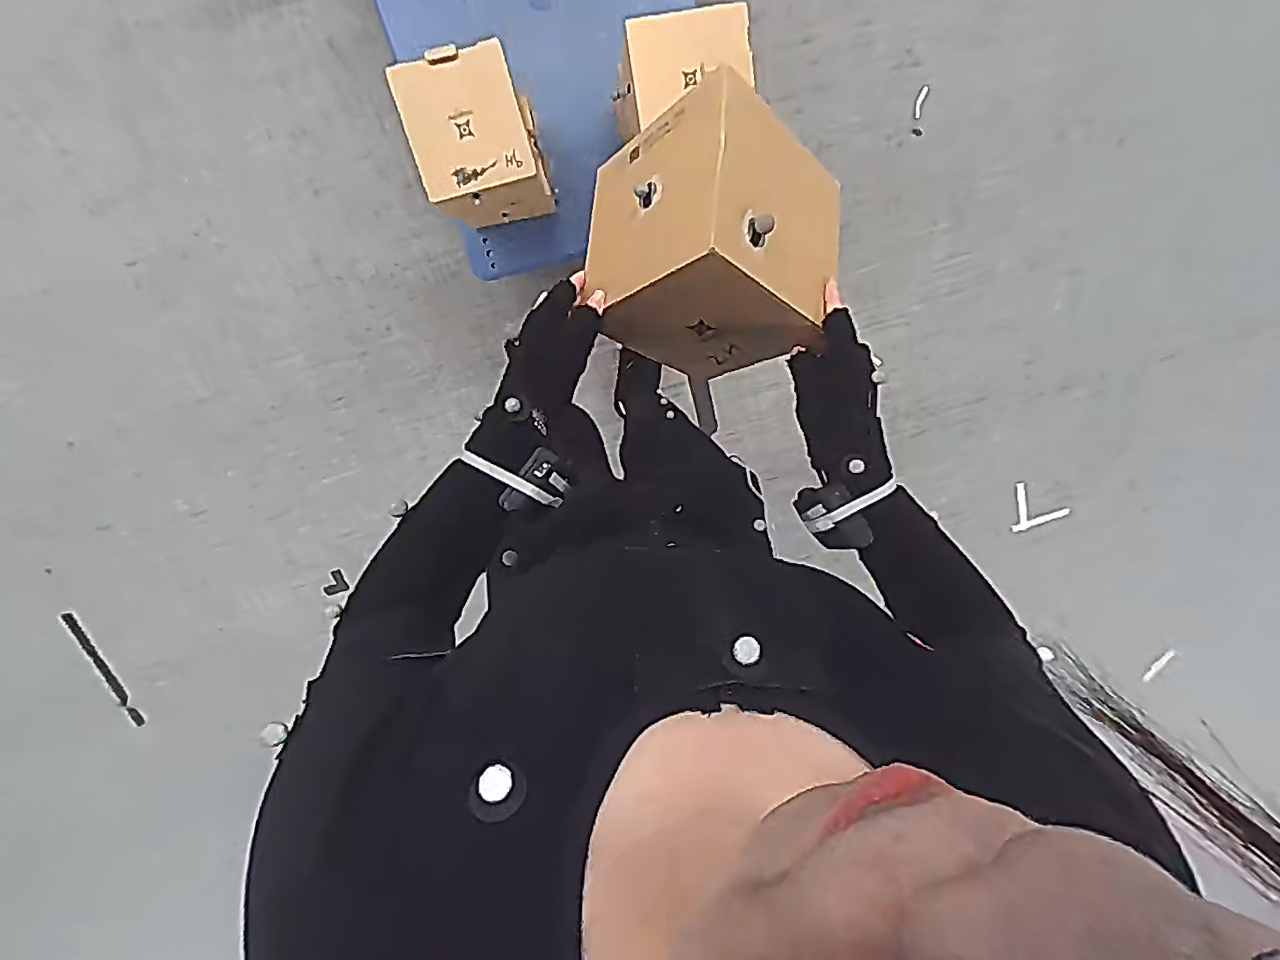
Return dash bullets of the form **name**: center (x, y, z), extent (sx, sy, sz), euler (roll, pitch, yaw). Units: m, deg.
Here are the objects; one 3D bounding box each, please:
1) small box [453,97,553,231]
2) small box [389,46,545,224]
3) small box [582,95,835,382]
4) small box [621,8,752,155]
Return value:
- **small box**: center (-0.264, -0.574, 1.002), extent (0.179, 0.176, 0.168), euler (-12, 108, 0)
- **small box**: center (-0.256, -0.523, 0.845), extent (0.168, 0.176, 0.179), euler (-15, 108, 0)
- **small box**: center (0.069, -0.217, 0.518), extent (0.179, 0.168, 0.176), euler (16, 74, -40)
- **small box**: center (0.068, -0.592, 0.853), extent (0.179, 0.176, 0.168), euler (-11, 108, -2)
